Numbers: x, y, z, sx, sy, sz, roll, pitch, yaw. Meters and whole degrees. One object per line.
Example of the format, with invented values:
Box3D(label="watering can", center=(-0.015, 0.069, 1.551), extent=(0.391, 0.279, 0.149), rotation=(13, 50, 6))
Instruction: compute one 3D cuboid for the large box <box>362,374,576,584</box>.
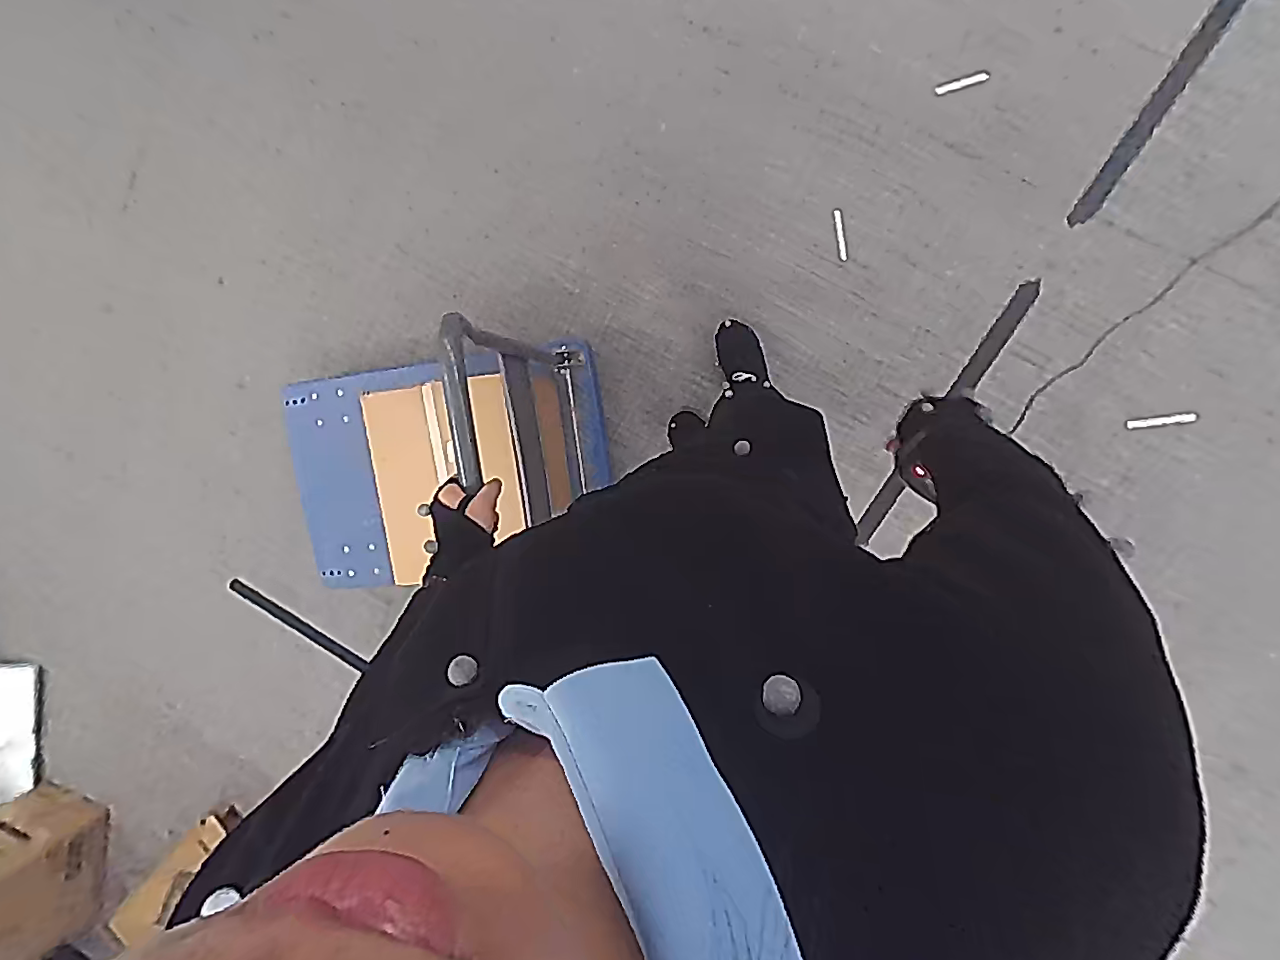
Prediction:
Box3D(label="large box", center=(-0.360, -0.010, 1.228), extent=(0.320, 0.320, 0.408), rotation=(-6, 97, 10))
